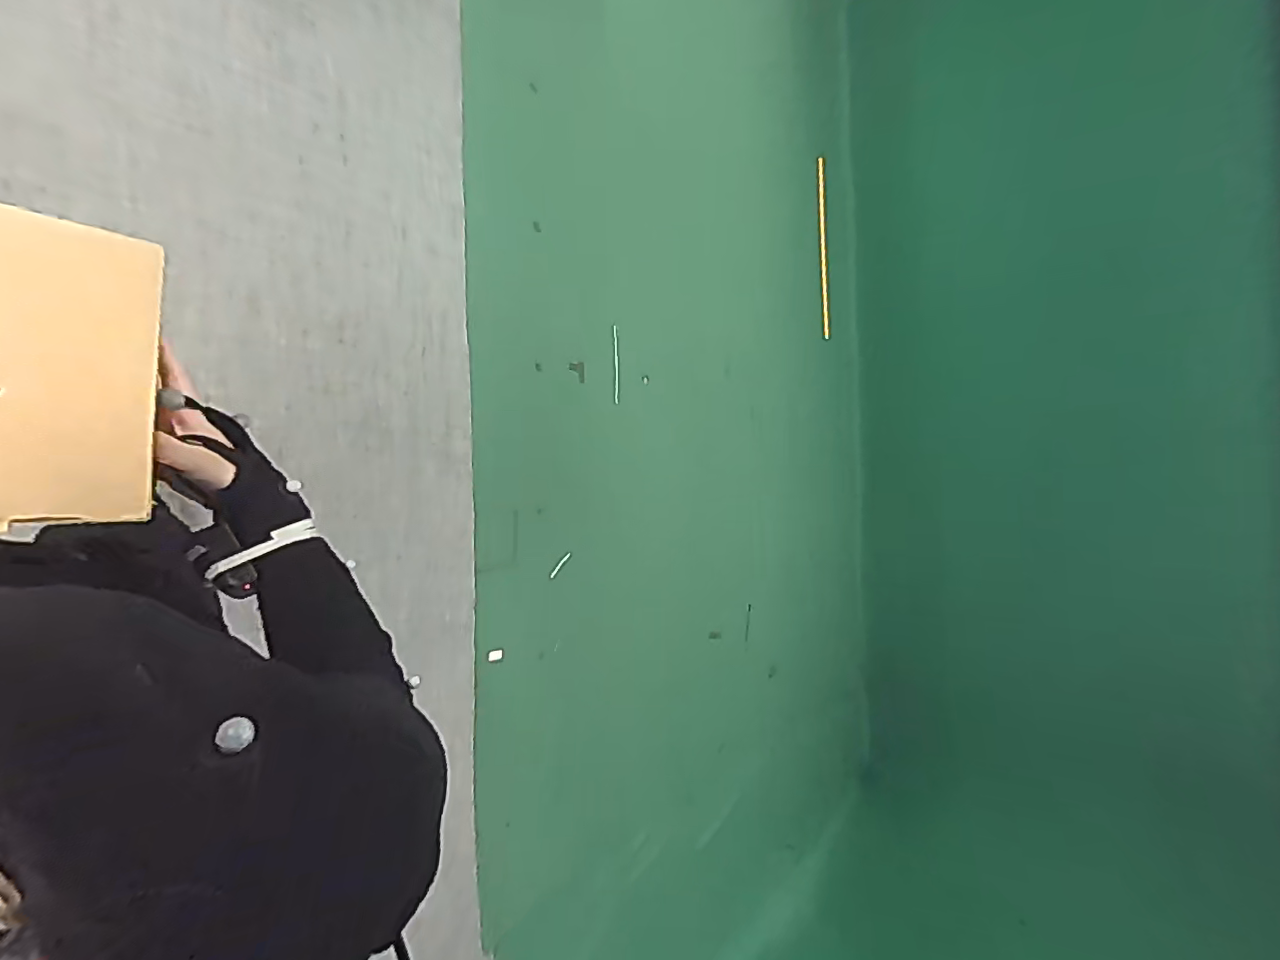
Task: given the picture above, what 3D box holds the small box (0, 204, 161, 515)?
[{"bbox_3d":[-0.431,-0.079,0.339,0.168,0.176,0.179,3,98,-50],"label":"small box"}]
